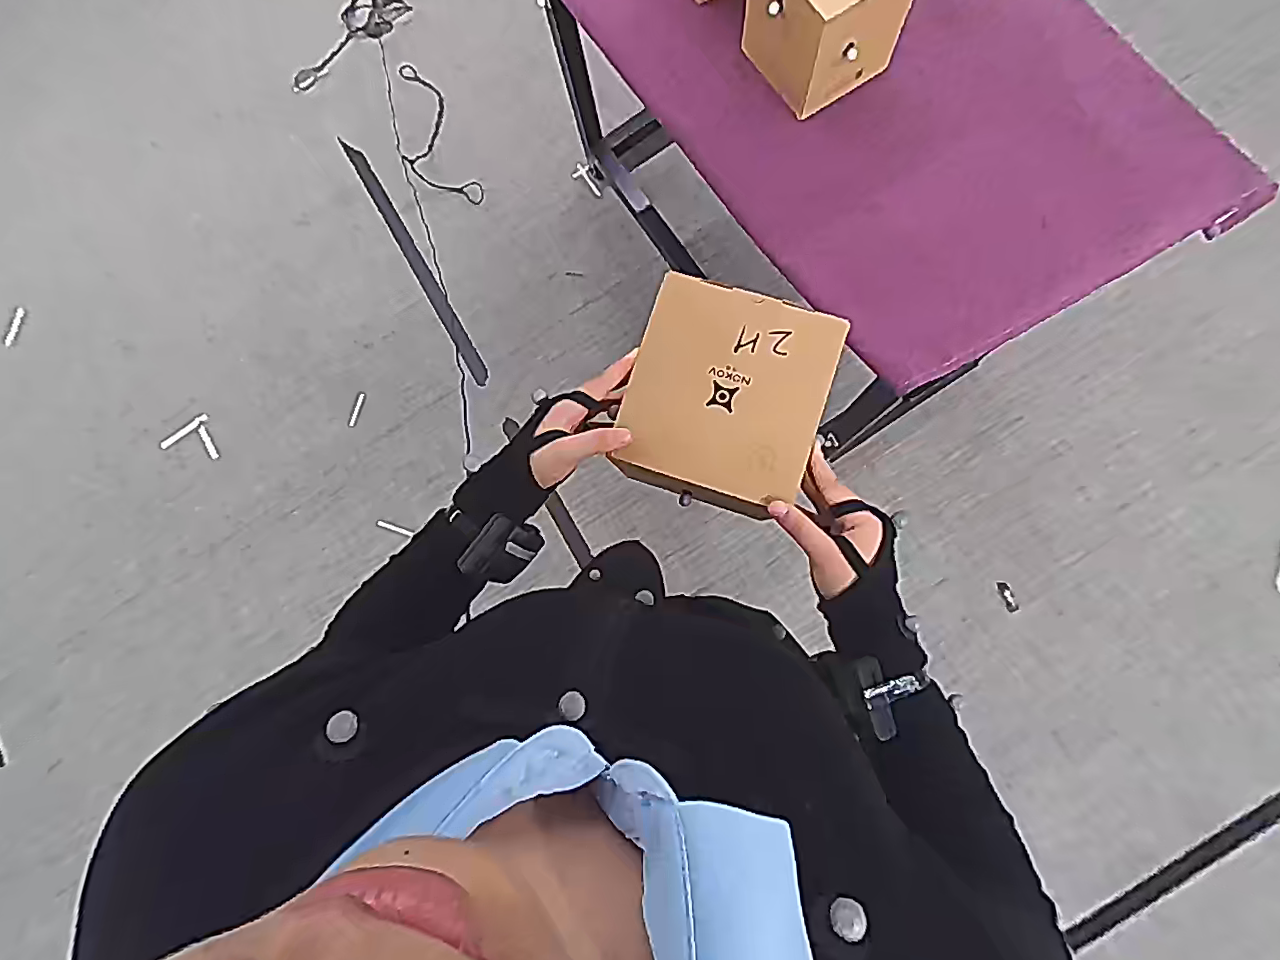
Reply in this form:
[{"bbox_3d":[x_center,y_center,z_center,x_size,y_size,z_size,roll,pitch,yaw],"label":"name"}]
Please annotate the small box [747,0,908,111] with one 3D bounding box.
[{"bbox_3d":[0.277,-0.696,0.802,0.168,0.176,0.179,-32,79,0],"label":"small box"}]
